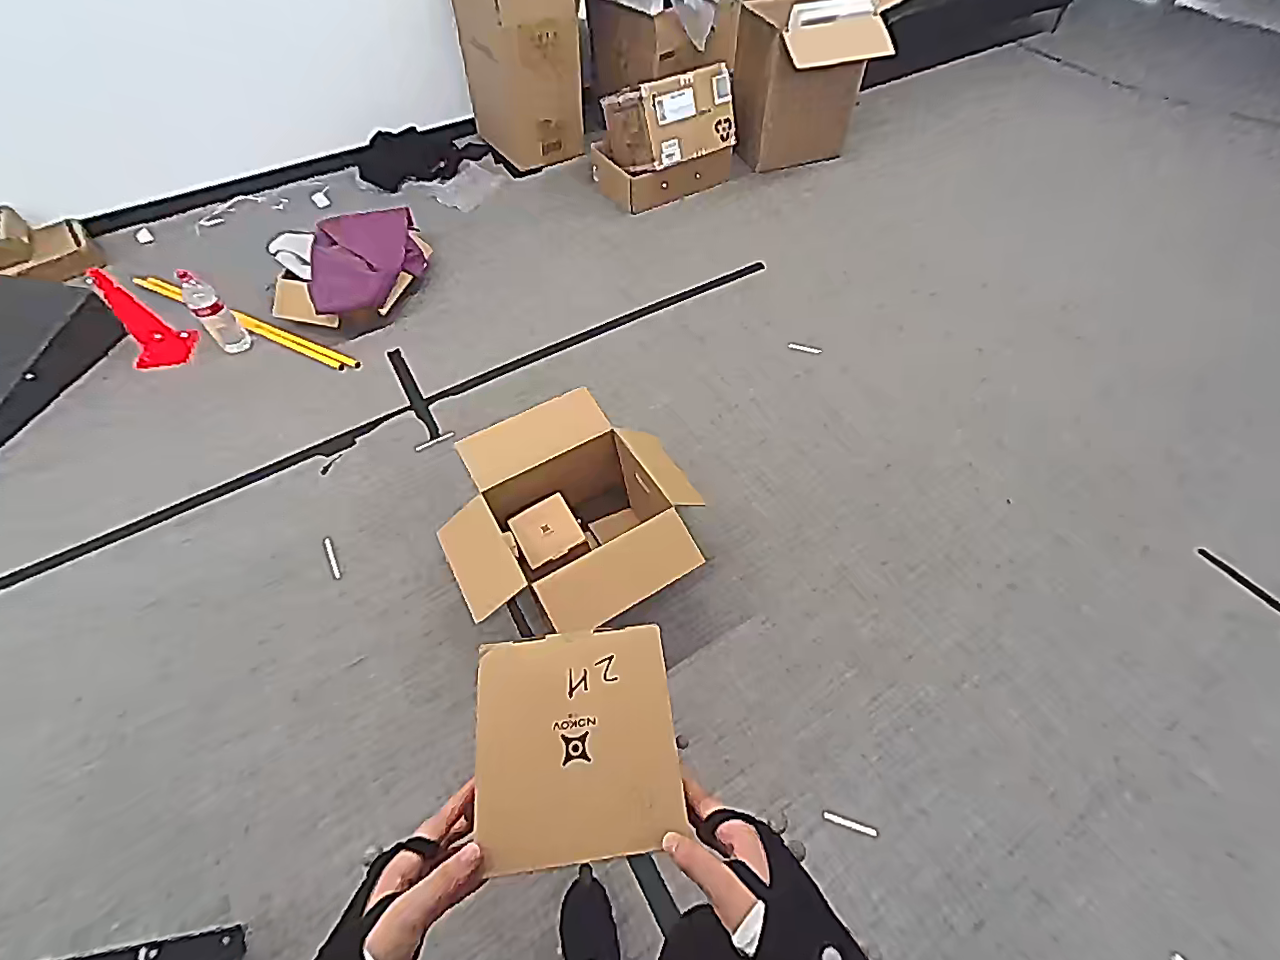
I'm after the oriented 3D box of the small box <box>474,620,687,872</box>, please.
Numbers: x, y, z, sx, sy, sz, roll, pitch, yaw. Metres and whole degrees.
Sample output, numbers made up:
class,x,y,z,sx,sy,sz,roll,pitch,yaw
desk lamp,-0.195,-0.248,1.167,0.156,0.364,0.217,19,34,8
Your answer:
class,x,y,z,sx,sy,sz,roll,pitch,yaw
small box,-0.053,0.252,0.517,0.168,0.176,0.179,-5,57,-5
